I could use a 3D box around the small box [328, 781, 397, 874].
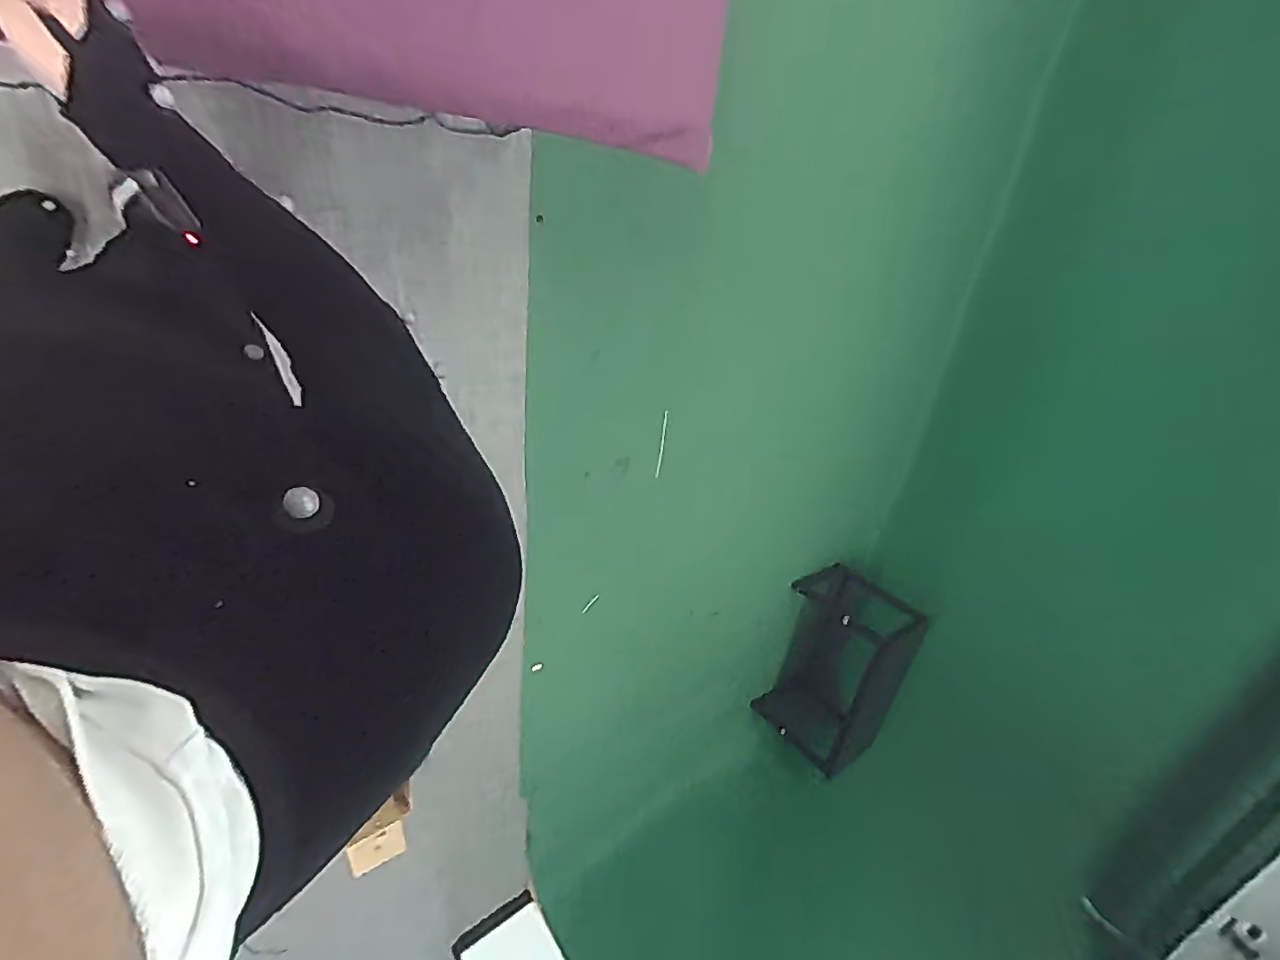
[{"bbox_3d":[-0.949,1.181,1.847,0.168,0.176,0.179,-16,126,-36],"label":"small box"}]
